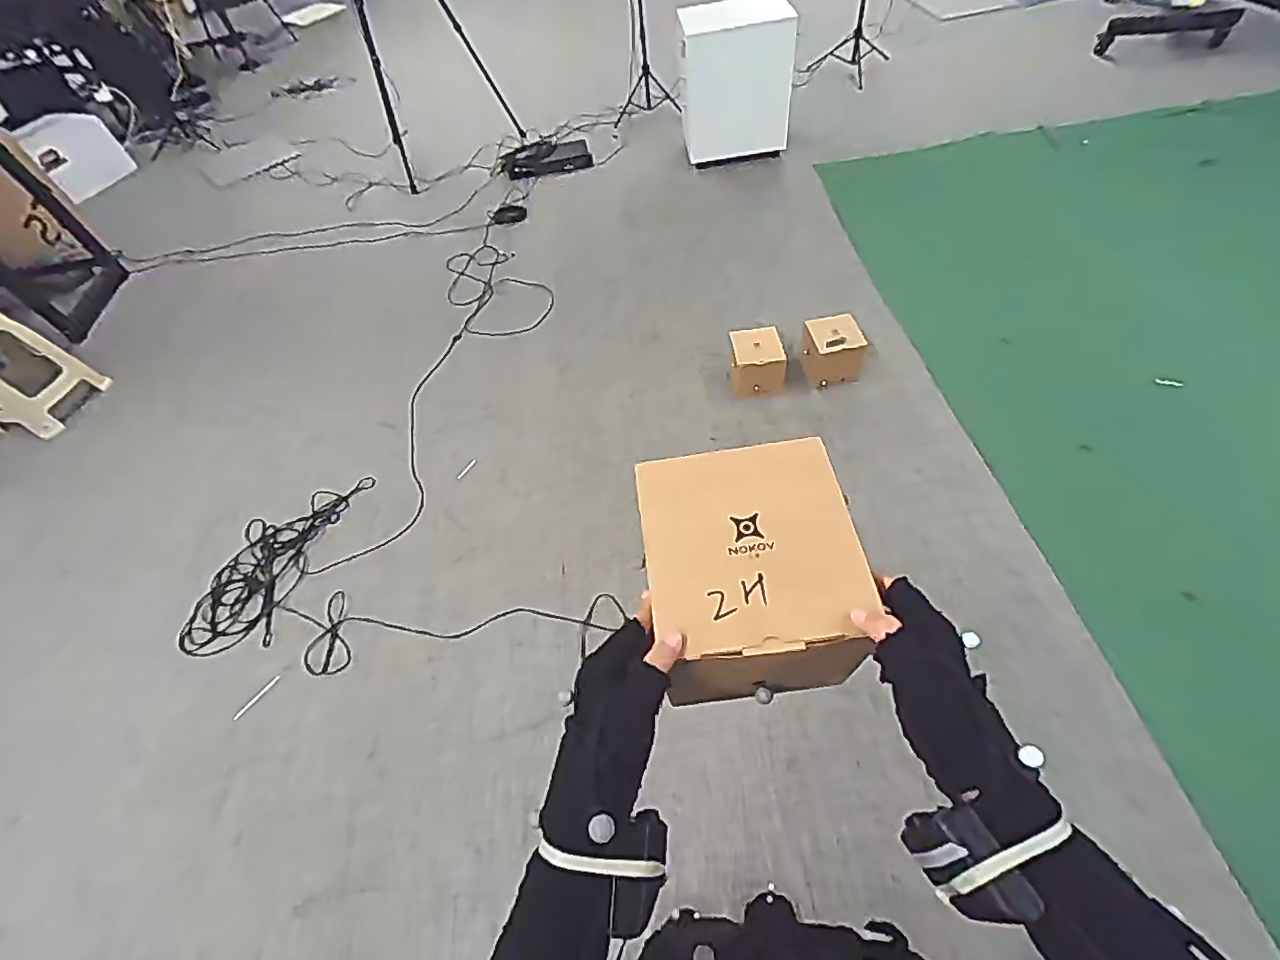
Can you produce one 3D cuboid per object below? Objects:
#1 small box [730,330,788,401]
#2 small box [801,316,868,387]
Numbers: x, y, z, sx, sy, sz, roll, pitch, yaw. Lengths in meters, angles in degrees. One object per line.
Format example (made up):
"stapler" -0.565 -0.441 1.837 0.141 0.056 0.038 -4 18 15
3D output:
"small box" 0.418 -0.408 1.928 0.168 0.176 0.179 -7 55 3
"small box" 0.684 -0.448 1.918 0.168 0.176 0.179 -10 54 1
